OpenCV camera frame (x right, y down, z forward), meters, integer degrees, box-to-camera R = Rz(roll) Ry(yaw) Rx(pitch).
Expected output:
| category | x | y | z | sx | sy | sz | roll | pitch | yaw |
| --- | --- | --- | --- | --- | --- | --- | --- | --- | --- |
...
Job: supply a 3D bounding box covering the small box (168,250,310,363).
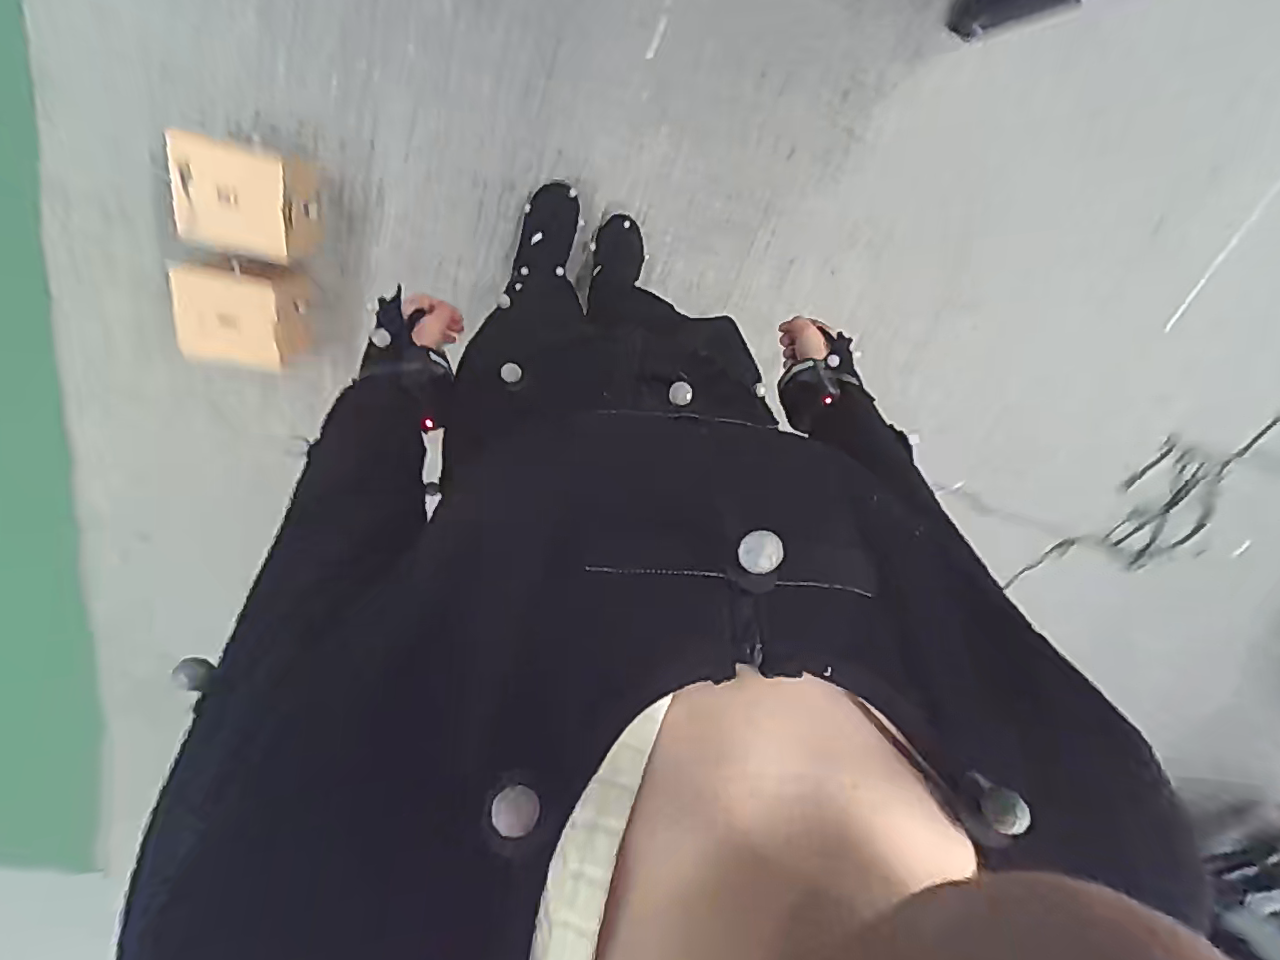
| category | x | y | z | sx | sy | sz | roll | pitch | yaw |
| --- | --- | --- | --- | --- | --- | --- | --- | --- | --- |
| small box | -0.781 | -0.350 | 1.077 | 0.179 | 0.176 | 0.168 | 9 | 116 | -13 |
